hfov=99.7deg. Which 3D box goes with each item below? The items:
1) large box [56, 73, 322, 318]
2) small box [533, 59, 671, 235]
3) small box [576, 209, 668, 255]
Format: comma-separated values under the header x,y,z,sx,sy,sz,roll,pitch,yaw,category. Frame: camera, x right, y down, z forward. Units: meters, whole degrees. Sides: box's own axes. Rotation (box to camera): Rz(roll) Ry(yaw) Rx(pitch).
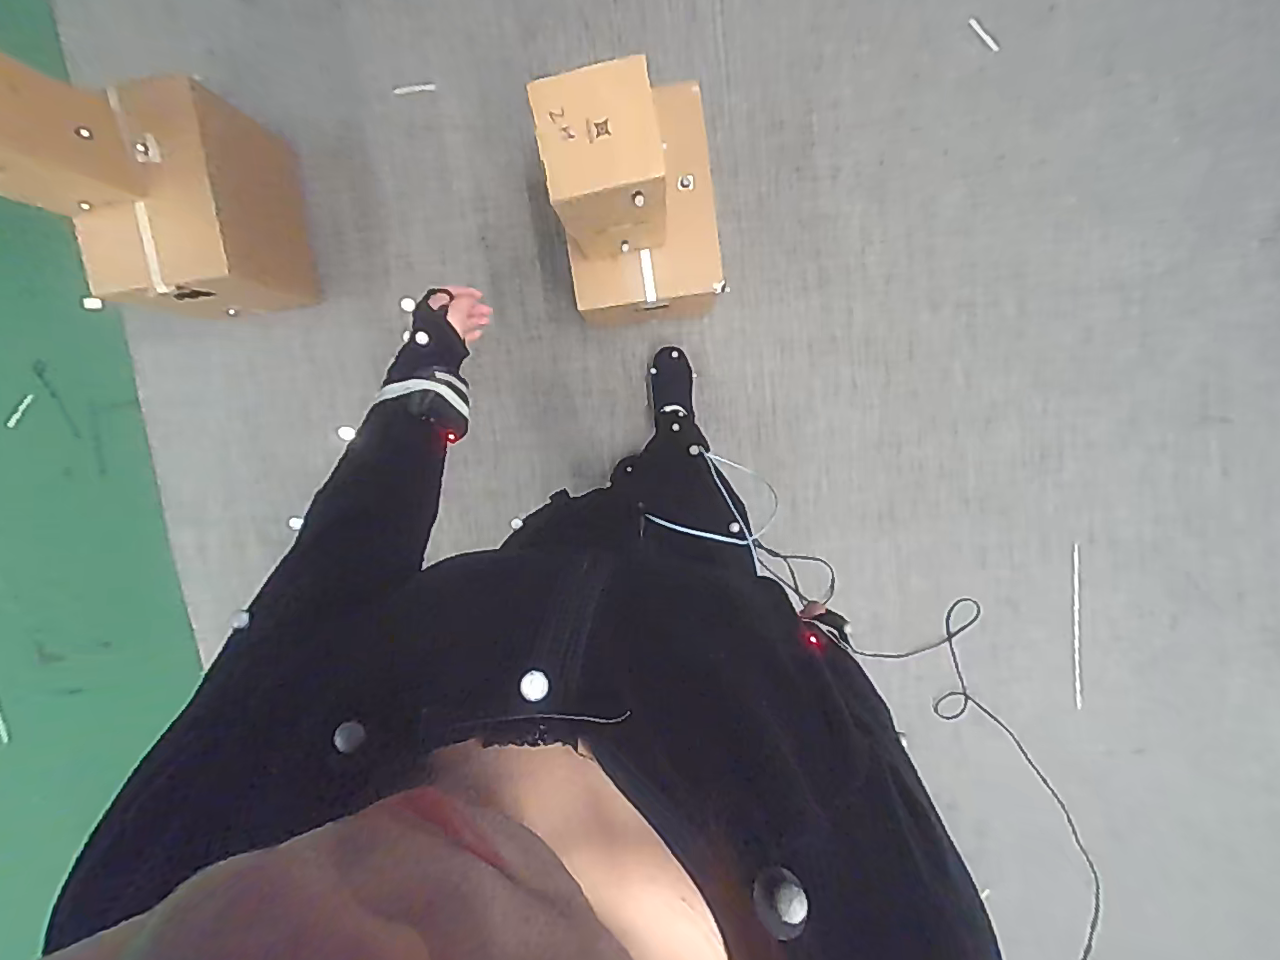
x,y,z,sx,sy,sz,roll,pitch,yaw,category
-1.022,-0.630,1.275,0.320,0.320,0.408,-7,97,3,large box
-0.051,-0.510,0.853,0.179,0.176,0.168,-10,97,5,small box
-0.041,-0.537,1.016,0.168,0.176,0.179,-10,98,5,small box
